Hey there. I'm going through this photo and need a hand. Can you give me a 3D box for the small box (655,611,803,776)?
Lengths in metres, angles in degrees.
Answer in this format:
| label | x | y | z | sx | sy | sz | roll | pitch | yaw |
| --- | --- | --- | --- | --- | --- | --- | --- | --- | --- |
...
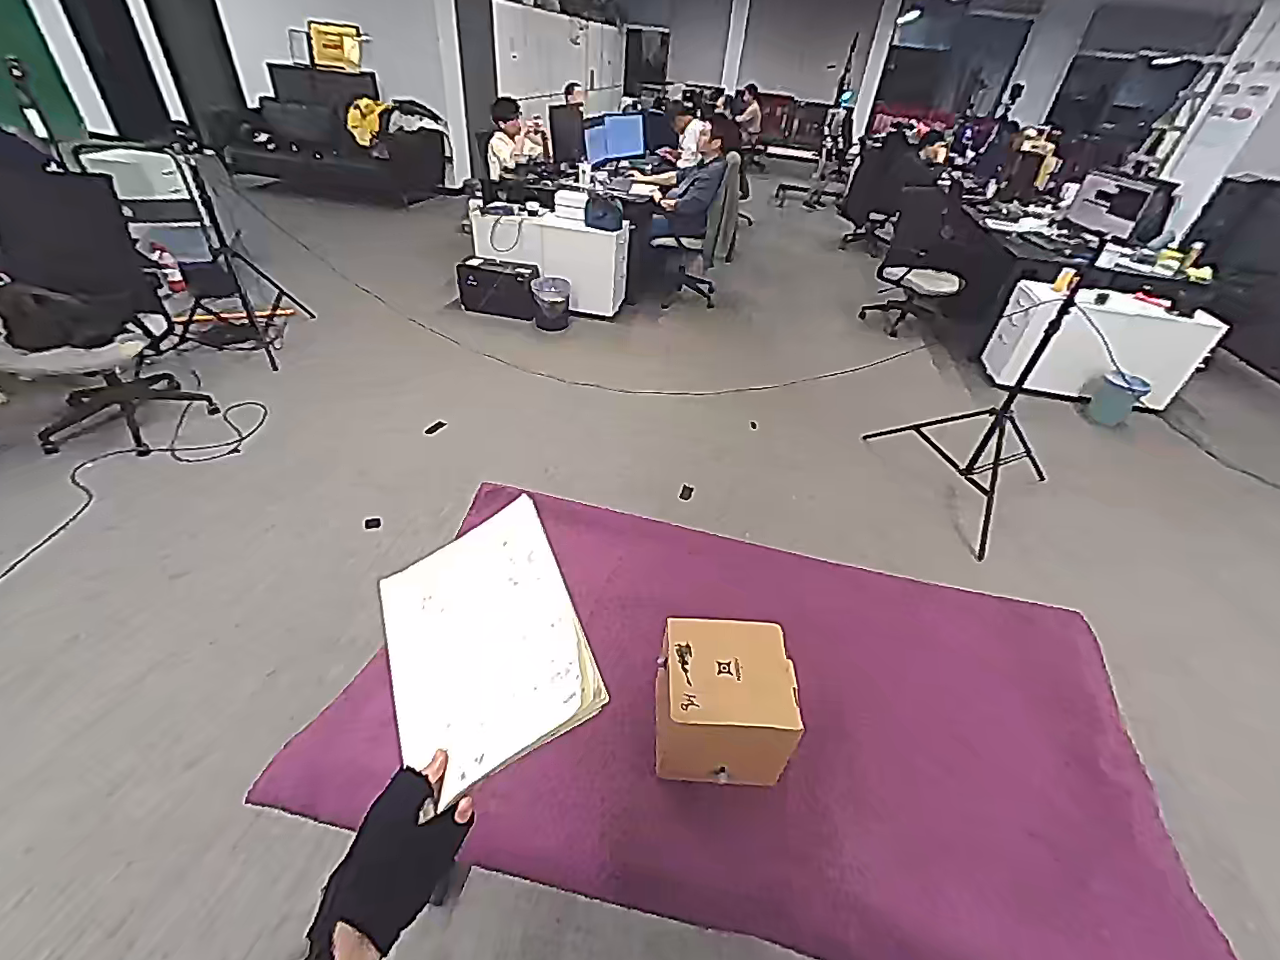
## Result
| label | x | y | z | sx | sy | sz | roll | pitch | yaw |
| --- | --- | --- | --- | --- | --- | --- | --- | --- | --- |
| small box | 0.119 | 0.318 | 0.801 | 0.179 | 0.176 | 0.168 | 5 | 37 | -2 |
